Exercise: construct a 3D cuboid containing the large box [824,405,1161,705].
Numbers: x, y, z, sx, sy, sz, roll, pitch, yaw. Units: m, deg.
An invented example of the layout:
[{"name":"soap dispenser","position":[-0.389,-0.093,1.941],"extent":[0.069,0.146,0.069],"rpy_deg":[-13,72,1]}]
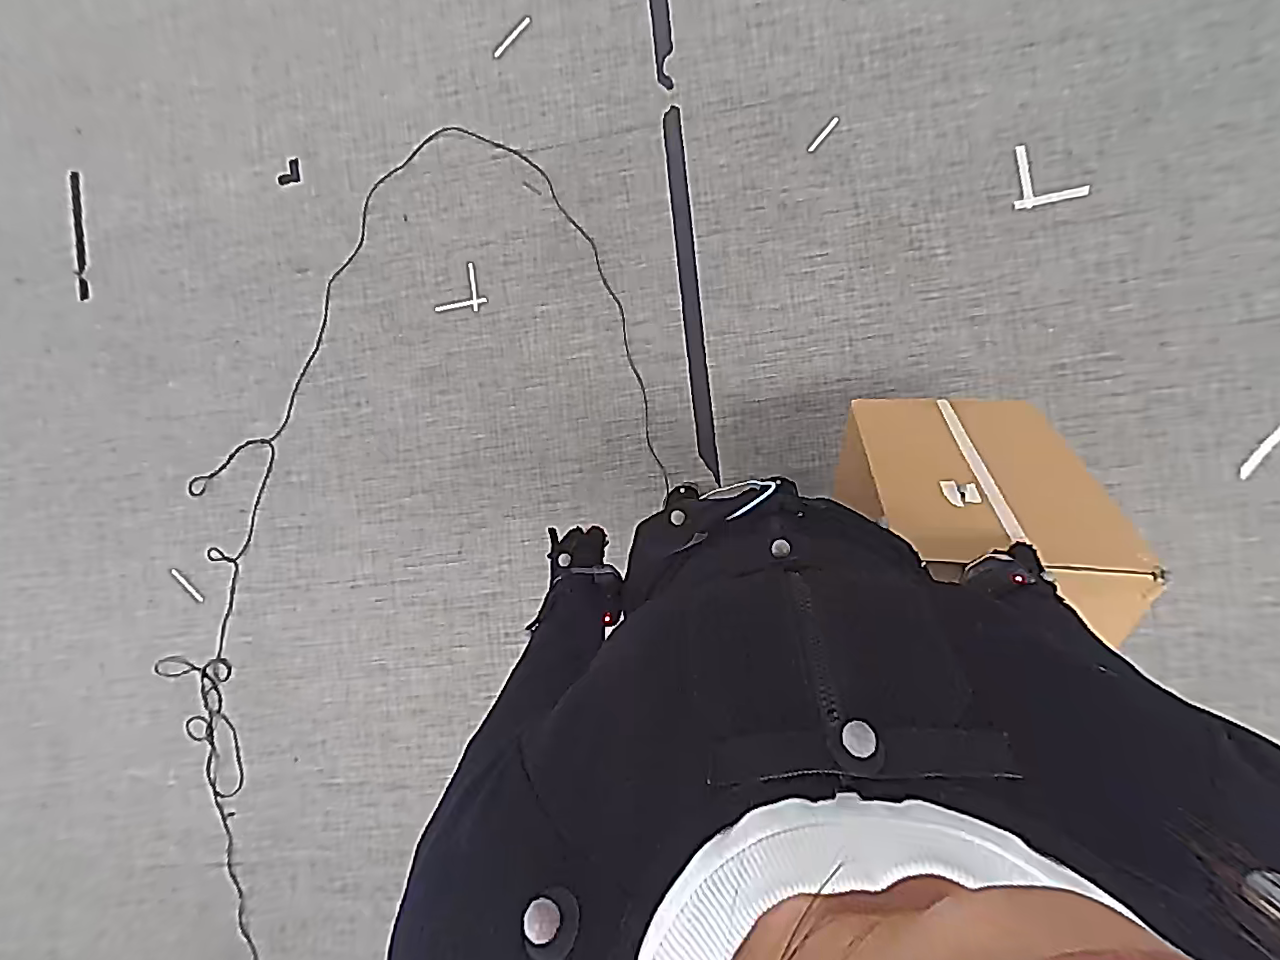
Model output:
[{"name":"large box","position":[0.521,0.110,0.926],"extent":[0.320,0.408,0.320],"rpy_deg":[1,130,9]}]
